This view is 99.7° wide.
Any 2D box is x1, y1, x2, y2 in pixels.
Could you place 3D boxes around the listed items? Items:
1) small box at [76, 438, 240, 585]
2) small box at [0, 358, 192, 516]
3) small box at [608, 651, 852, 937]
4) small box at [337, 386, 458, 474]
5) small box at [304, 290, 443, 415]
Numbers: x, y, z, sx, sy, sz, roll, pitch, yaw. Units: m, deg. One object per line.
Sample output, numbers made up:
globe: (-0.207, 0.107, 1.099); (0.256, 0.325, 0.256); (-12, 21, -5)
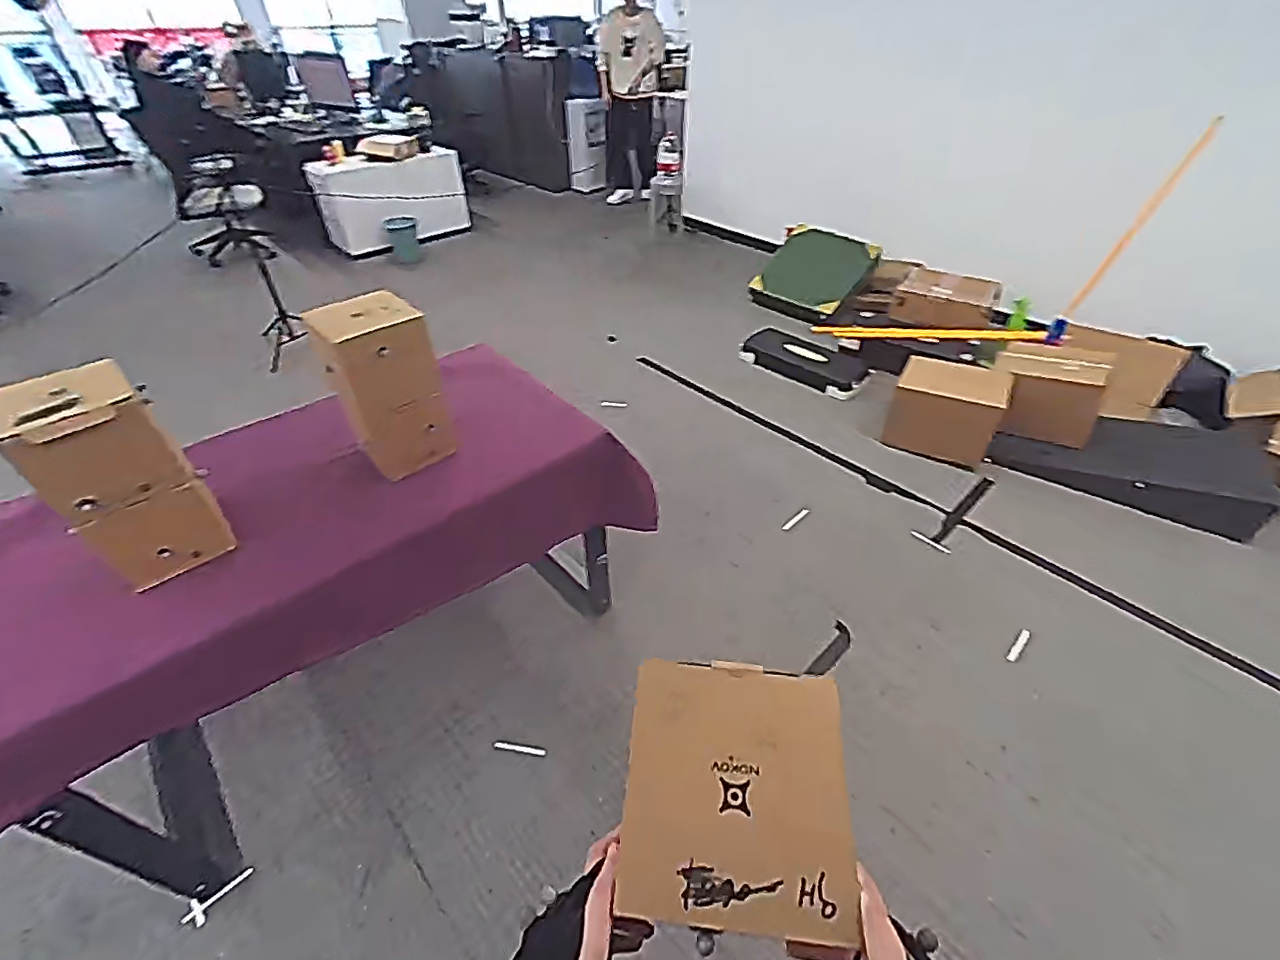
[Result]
small box: (-0.874, 0.057, 0.982); (0.168, 0.176, 0.179); (-32, 52, -32)
small box: (-0.874, -0.066, 0.872); (0.179, 0.176, 0.168); (34, 51, 32)
small box: (0.070, 0.272, 0.472); (0.168, 0.176, 0.179); (4, 52, 5)
small box: (-0.529, -0.135, 1.196); (0.168, 0.176, 0.179); (-31, 50, -31)
small box: (-0.526, -0.256, 1.085); (0.179, 0.176, 0.168); (-32, 52, -32)
